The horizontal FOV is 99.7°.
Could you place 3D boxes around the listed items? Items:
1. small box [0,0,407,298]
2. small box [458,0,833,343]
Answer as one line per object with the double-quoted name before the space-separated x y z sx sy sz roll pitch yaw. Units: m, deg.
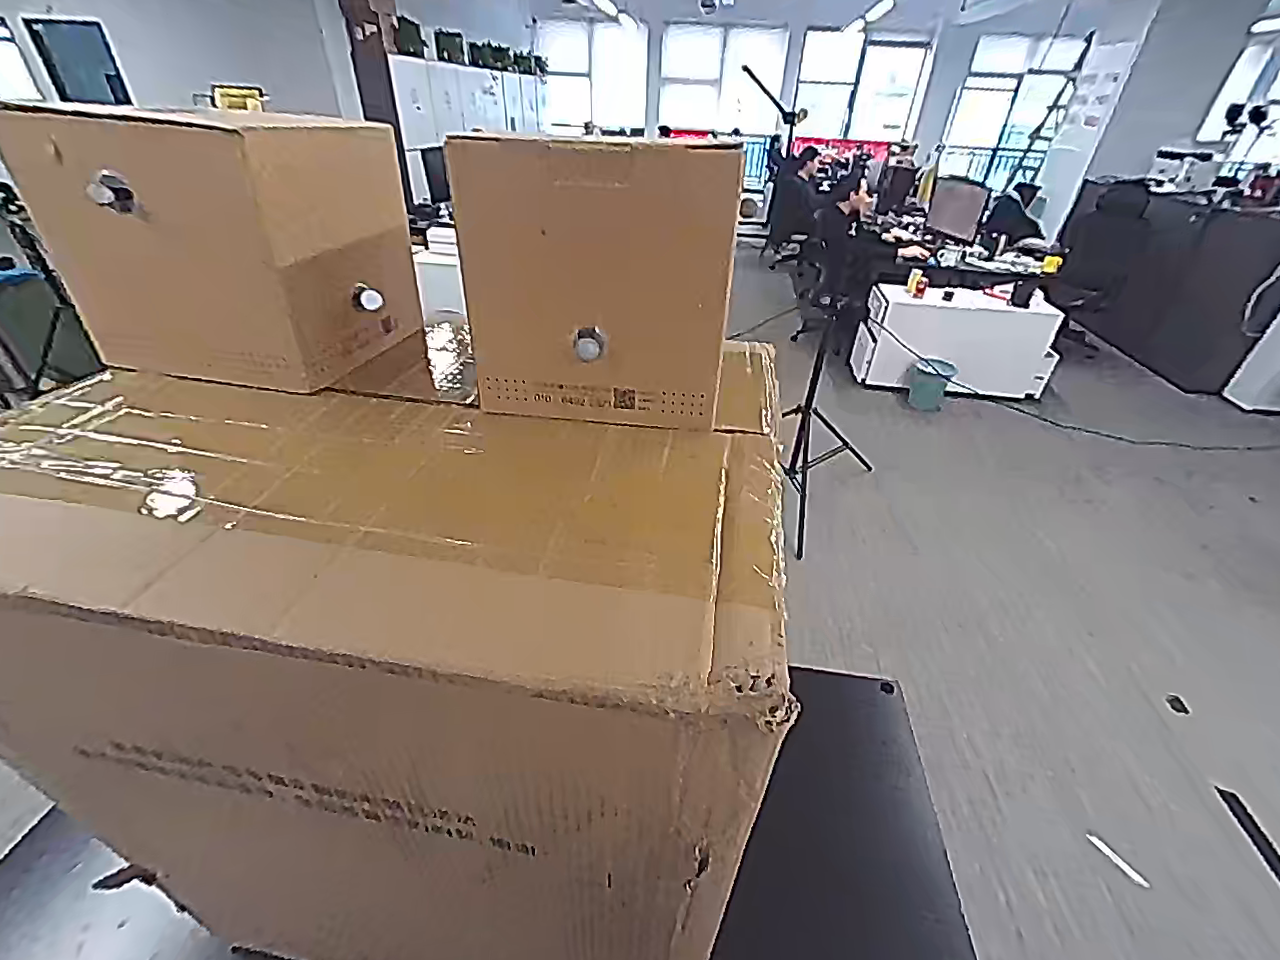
"small box" -0.279 -0.223 0.344 0.179 0.176 0.168 9 34 5
"small box" 0.005 -0.195 0.324 0.168 0.176 0.179 5 33 6
